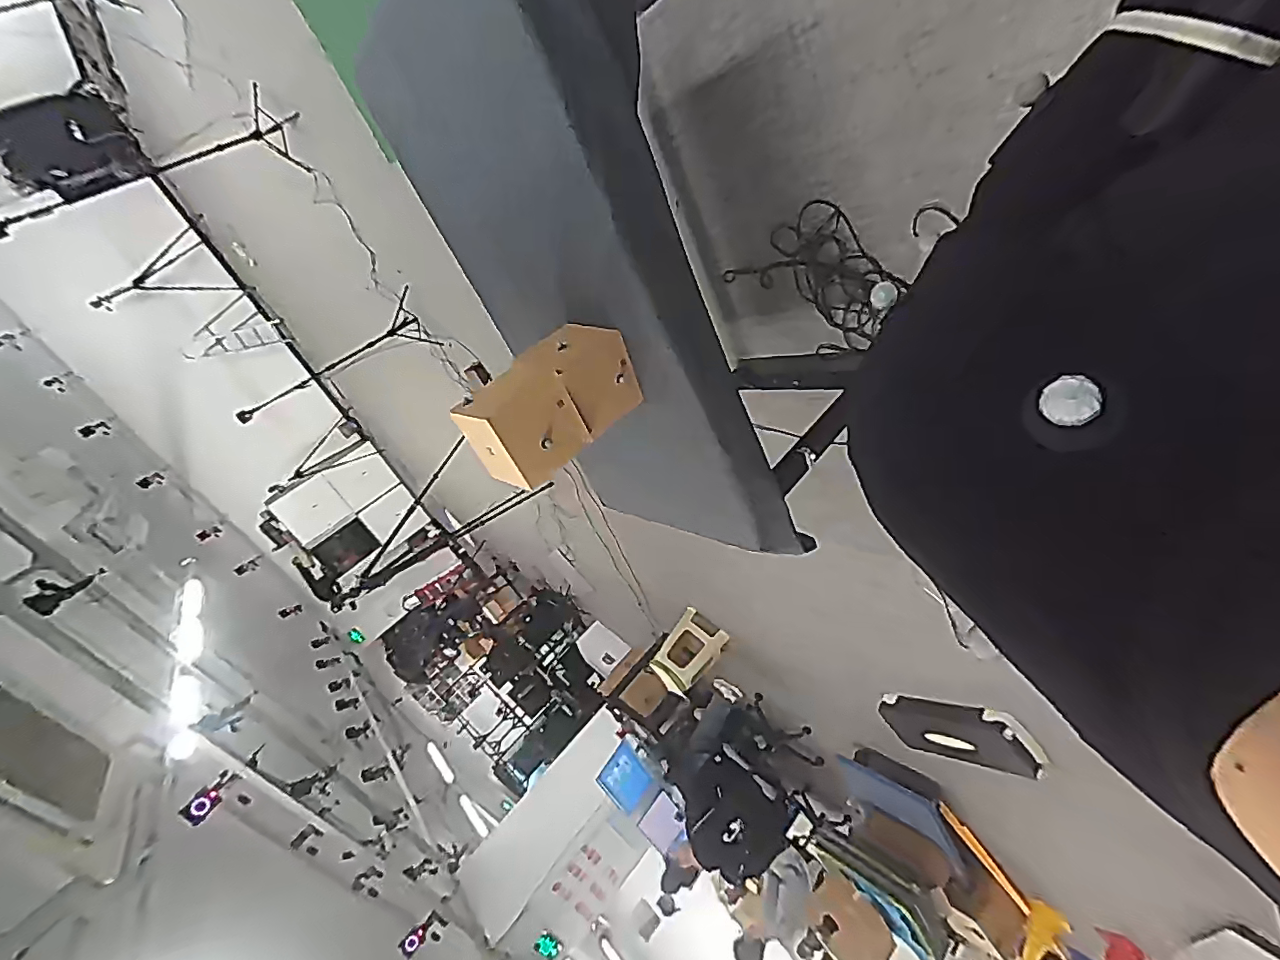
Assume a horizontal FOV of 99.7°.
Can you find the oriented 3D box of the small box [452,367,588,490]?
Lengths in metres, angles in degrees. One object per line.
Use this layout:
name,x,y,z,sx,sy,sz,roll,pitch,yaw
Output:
small box,-0.224,-0.107,1.051,0.179,0.176,0.168,15,140,49
